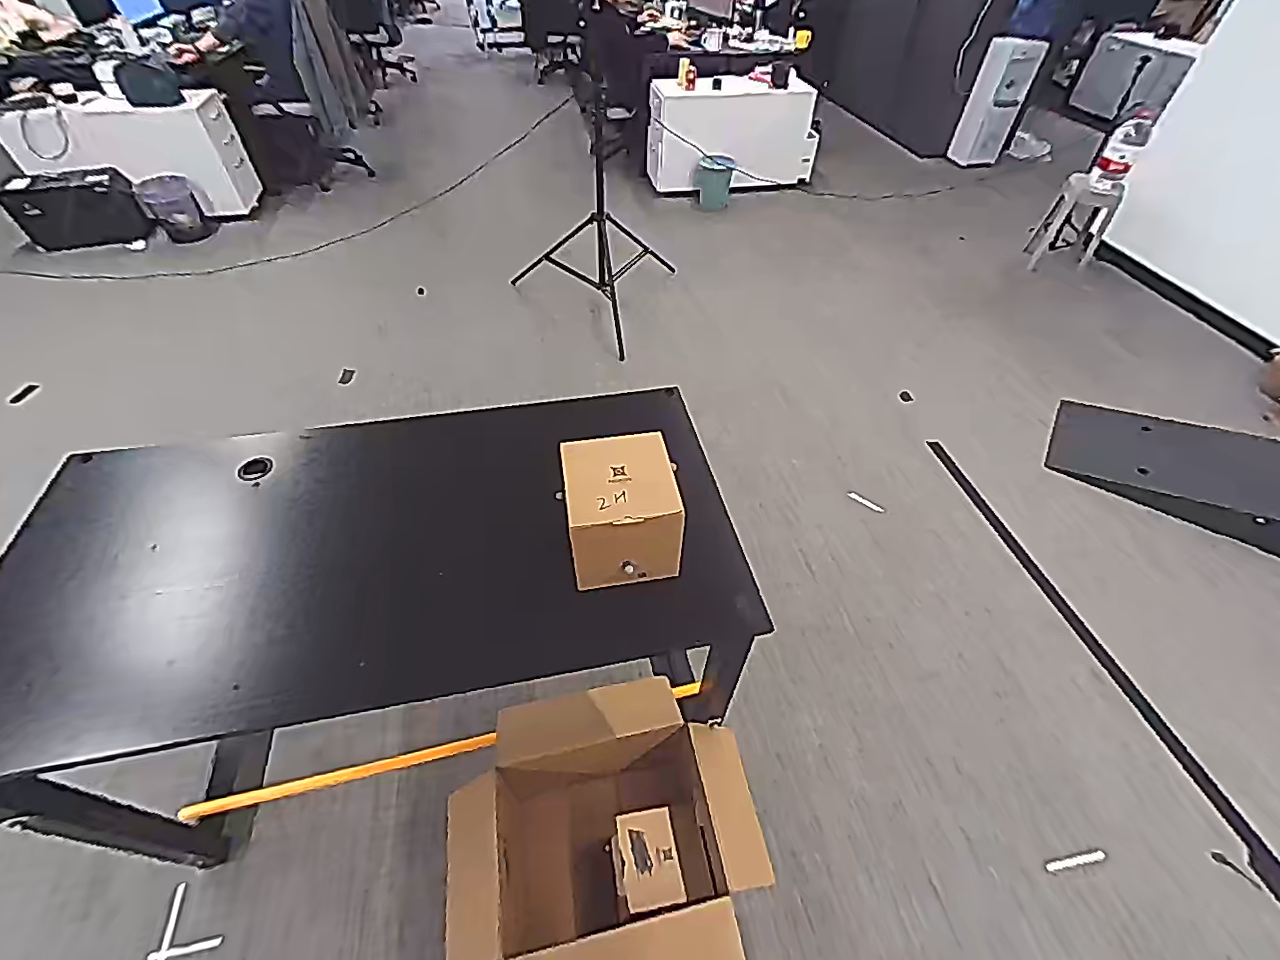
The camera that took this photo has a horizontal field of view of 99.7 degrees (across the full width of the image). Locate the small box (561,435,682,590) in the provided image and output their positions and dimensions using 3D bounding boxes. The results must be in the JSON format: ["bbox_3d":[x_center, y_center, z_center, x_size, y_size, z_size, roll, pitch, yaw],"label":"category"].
[{"bbox_3d":[-0.034,0.052,0.871,0.168,0.176,0.179,-7,48,-7],"label":"small box"}]
